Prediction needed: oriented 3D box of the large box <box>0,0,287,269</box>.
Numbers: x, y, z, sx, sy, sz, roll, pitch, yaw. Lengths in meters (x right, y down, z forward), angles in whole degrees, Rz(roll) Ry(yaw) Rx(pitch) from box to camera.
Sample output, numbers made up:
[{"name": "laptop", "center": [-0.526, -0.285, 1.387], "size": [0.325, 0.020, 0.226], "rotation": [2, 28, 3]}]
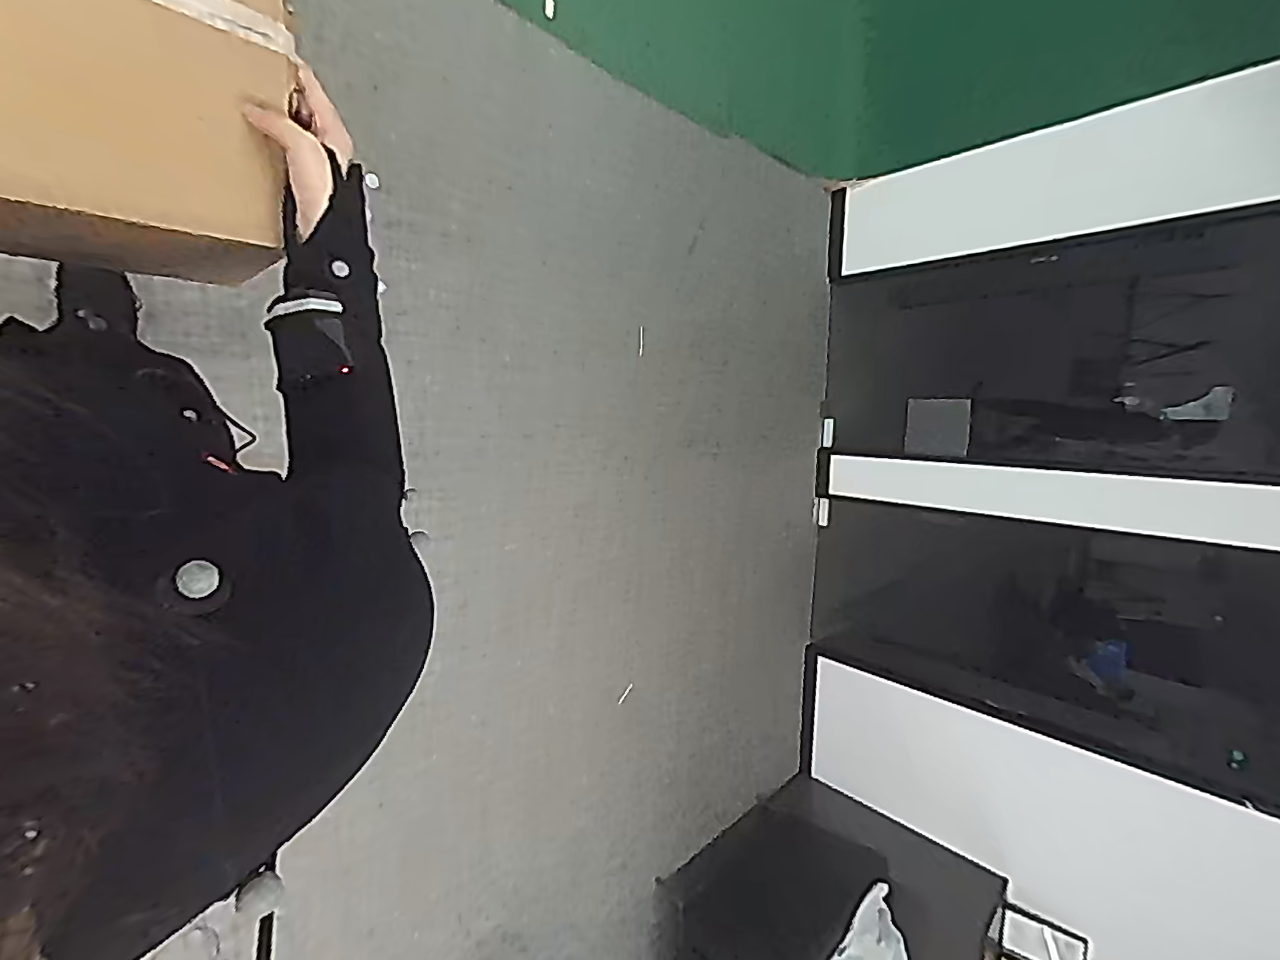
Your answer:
[{"name": "large box", "center": [-0.539, -0.362, 0.409], "size": [0.408, 0.320, 0.320], "rotation": [-6, 103, -42]}]
